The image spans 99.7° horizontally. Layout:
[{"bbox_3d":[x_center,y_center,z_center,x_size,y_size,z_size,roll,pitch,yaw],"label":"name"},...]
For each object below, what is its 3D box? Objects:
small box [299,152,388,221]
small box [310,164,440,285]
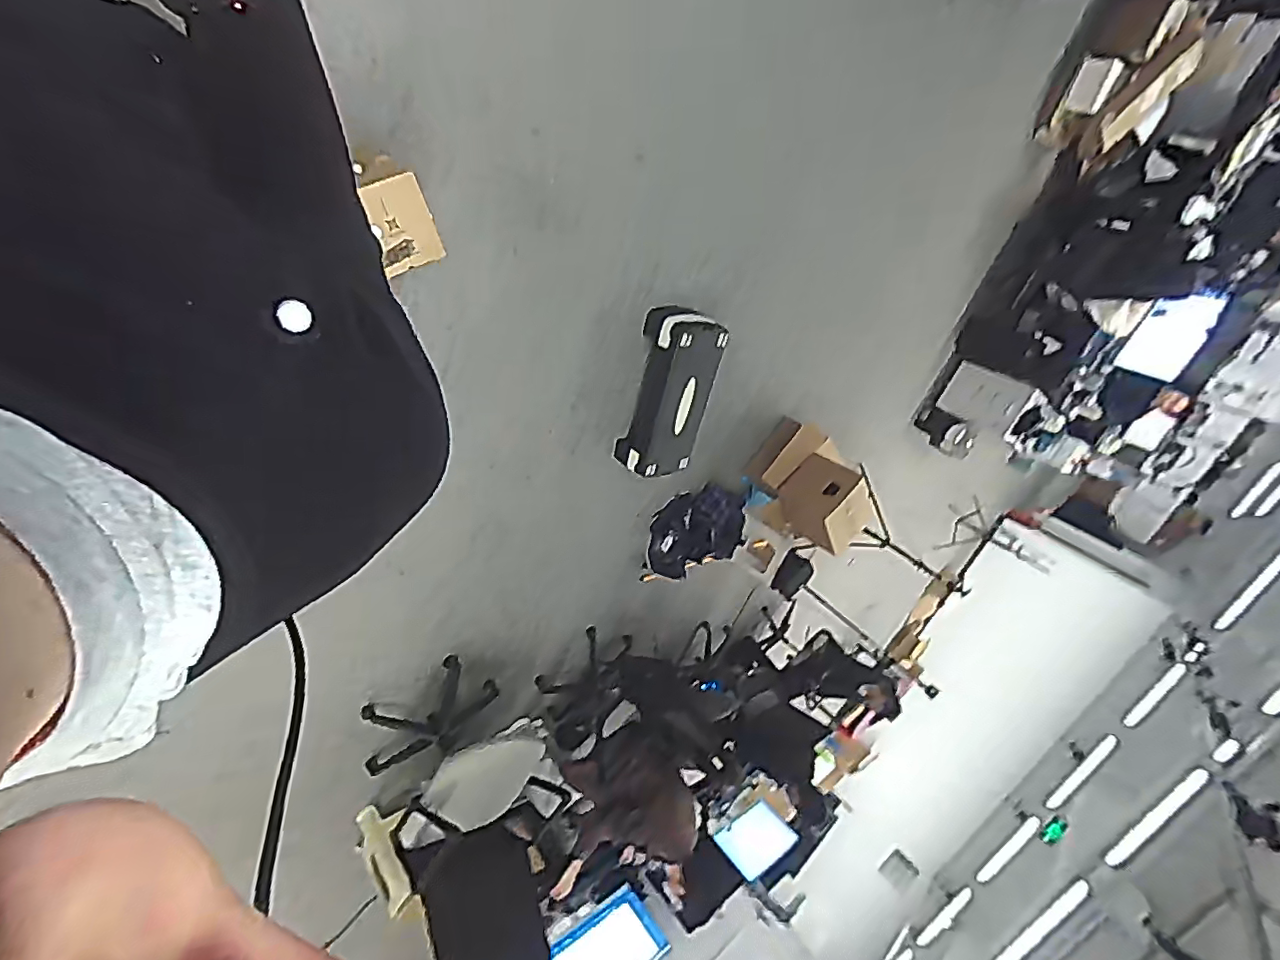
[{"bbox_3d":[-0.652,-0.640,1.260,0.168,0.176,0.179,-39,142,-15],"label":"small box"},{"bbox_3d":[-0.564,-0.549,1.154,0.168,0.176,0.179,-34,138,-21],"label":"small box"}]
